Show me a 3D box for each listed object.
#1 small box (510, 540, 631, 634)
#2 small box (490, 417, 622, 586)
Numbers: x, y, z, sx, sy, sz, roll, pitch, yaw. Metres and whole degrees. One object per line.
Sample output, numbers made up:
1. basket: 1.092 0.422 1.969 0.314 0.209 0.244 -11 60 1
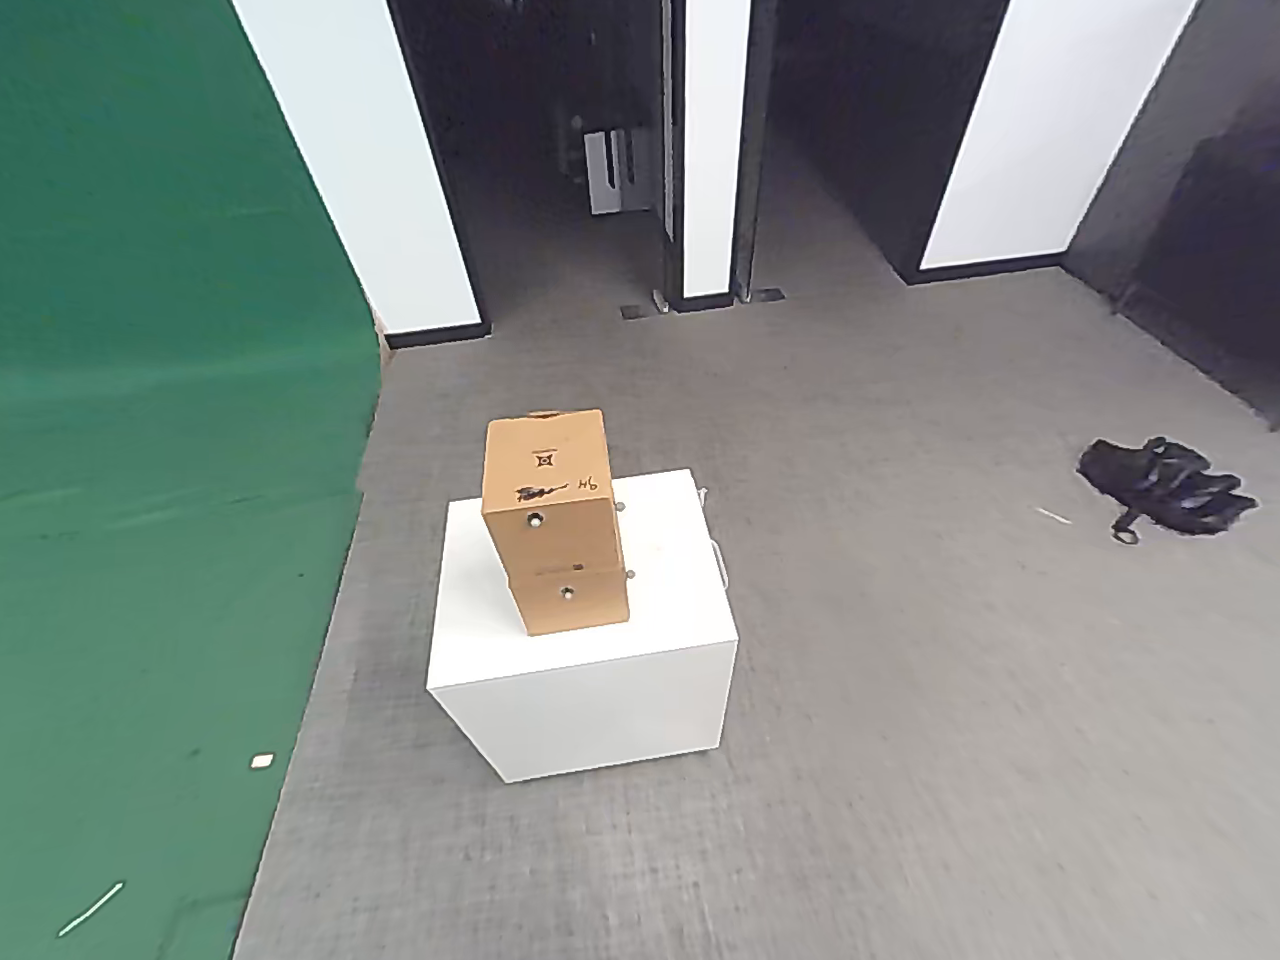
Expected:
1. small box: -0.114 0.145 0.917 0.179 0.176 0.168 -7 47 -4
2. small box: -0.120 0.032 0.802 0.168 0.176 0.179 -8 48 -5
